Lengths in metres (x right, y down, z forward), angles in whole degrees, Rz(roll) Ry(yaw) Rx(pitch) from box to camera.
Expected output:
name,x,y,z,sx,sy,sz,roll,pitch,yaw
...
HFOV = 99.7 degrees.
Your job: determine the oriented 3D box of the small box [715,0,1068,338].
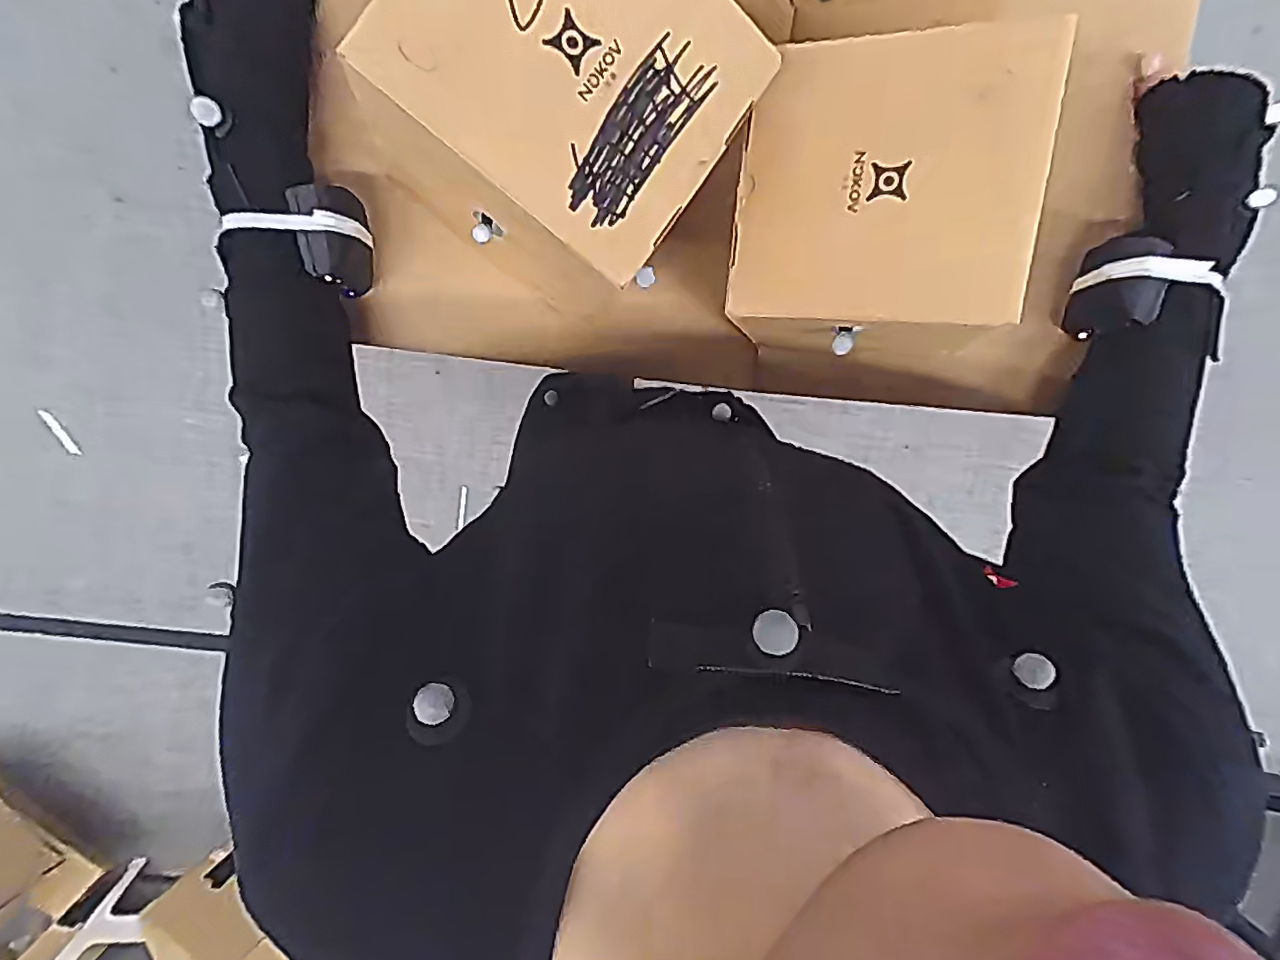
name,x,y,z,sx,sy,sz,roll,pitch,yaw
small box,0.168,-0.204,0.405,0.179,0.176,0.168,9,99,20
